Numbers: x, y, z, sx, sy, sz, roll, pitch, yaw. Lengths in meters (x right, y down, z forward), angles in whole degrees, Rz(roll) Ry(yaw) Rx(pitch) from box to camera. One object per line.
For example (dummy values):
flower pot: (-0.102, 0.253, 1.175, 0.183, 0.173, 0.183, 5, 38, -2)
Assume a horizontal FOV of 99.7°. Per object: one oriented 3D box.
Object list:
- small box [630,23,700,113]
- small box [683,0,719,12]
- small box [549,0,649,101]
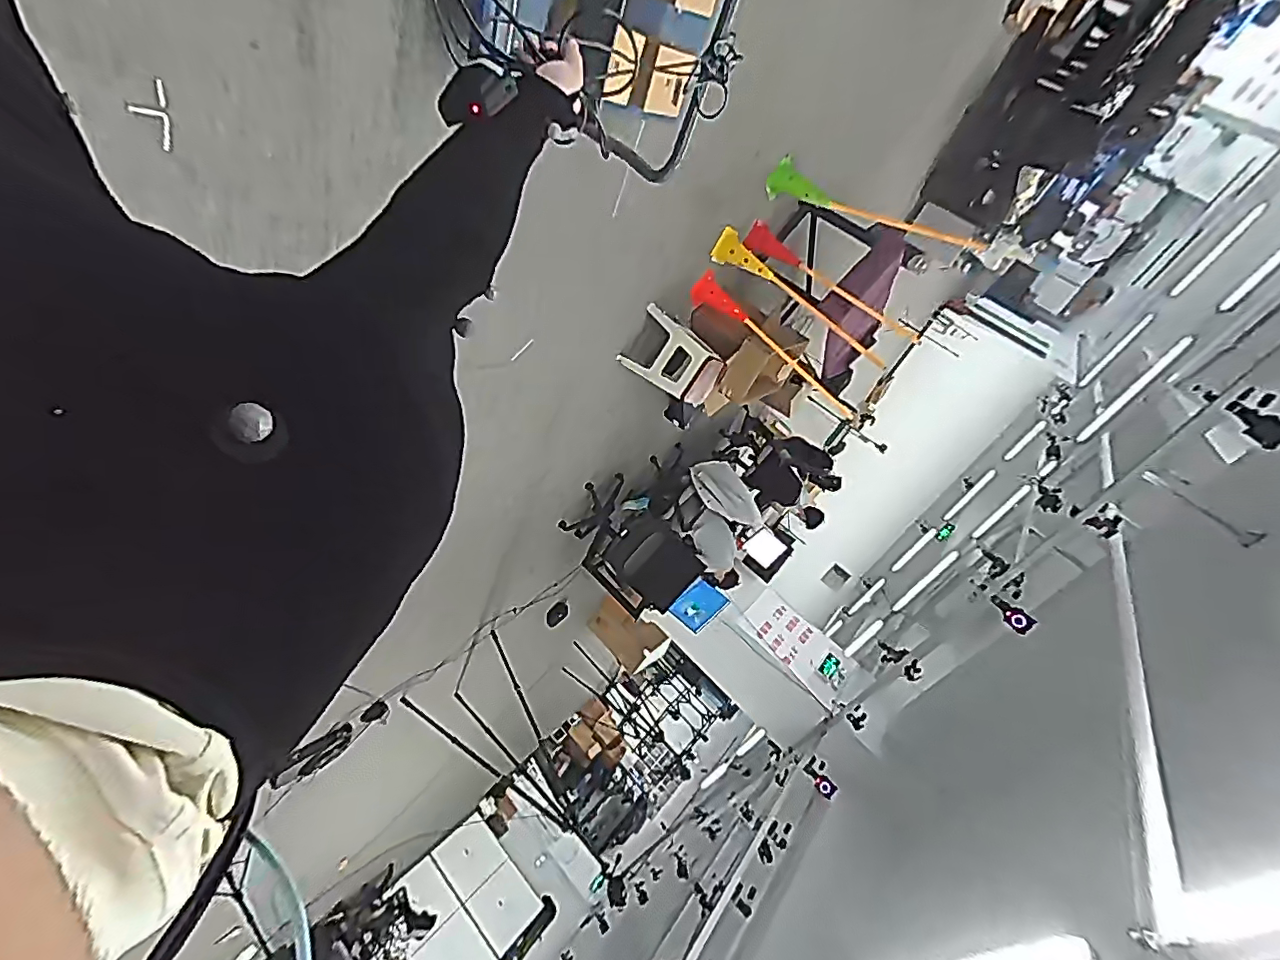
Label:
small box: (0.043, -1.244, 1.635, 0.179, 0.176, 0.168, -28, 151, -42)
small box: (0.126, -1.423, 1.473, 0.179, 0.176, 0.168, -30, 154, -41)
small box: (-0.114, -1.166, 1.463, 0.179, 0.176, 0.168, -26, 151, -45)
